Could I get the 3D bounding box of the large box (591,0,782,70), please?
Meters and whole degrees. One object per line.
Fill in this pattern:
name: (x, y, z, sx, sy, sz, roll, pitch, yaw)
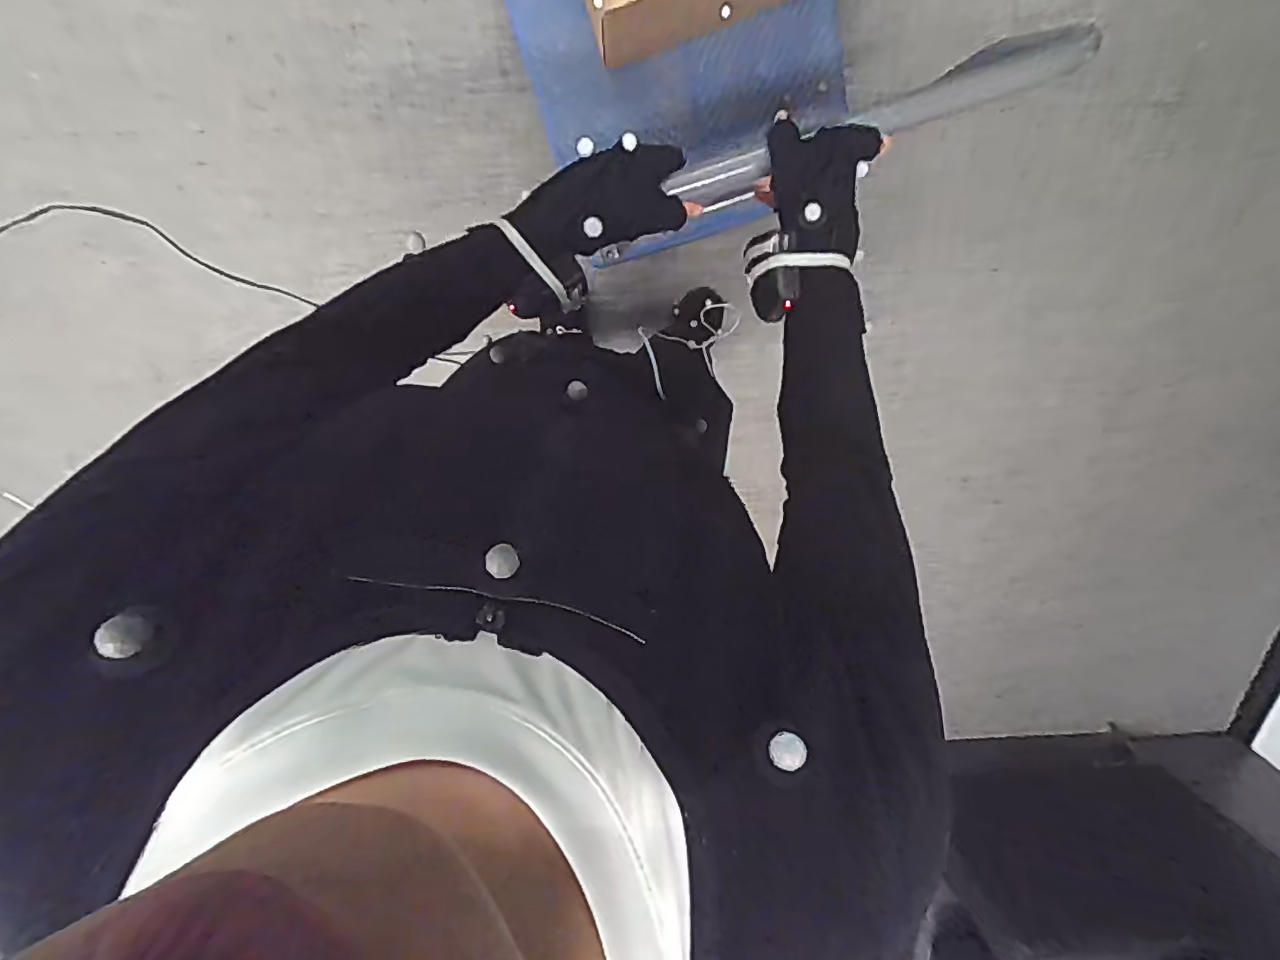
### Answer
large box: (0.091, -0.904, 0.811, 0.408, 0.320, 0.320, -18, 113, 7)
